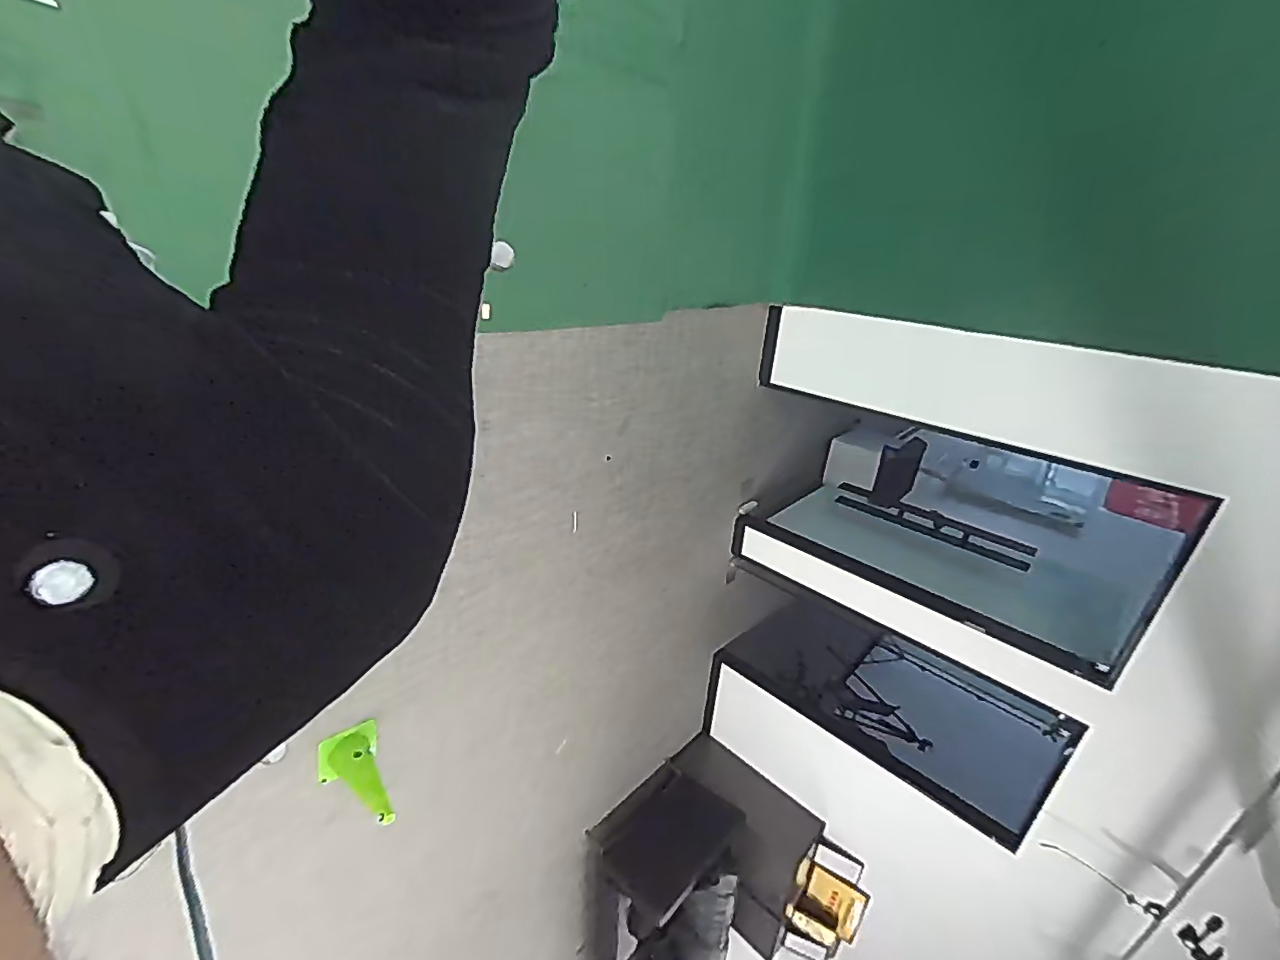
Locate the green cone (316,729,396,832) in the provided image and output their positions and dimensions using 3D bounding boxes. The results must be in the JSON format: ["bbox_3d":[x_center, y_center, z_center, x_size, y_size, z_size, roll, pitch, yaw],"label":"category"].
[{"bbox_3d":[-0.945,1.082,1.875,0.200,0.368,0.202,-14,118,-47],"label":"green cone"}]
